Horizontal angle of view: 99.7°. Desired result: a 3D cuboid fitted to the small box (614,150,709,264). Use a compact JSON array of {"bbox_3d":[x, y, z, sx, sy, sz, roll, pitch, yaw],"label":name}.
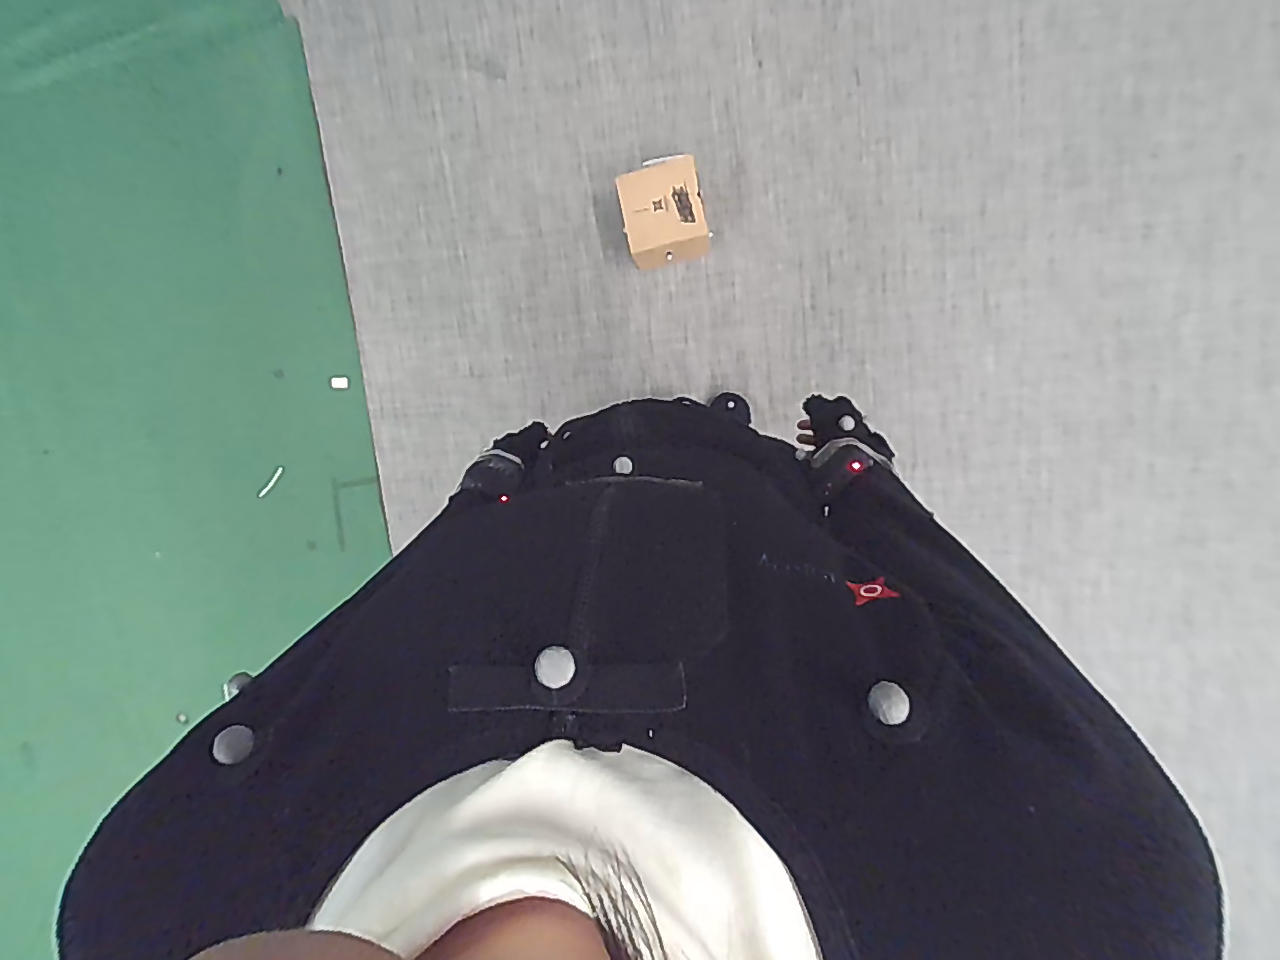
[{"bbox_3d":[0.053,-0.619,1.249,0.179,0.176,0.168,-15,98,9],"label":"small box"}]
